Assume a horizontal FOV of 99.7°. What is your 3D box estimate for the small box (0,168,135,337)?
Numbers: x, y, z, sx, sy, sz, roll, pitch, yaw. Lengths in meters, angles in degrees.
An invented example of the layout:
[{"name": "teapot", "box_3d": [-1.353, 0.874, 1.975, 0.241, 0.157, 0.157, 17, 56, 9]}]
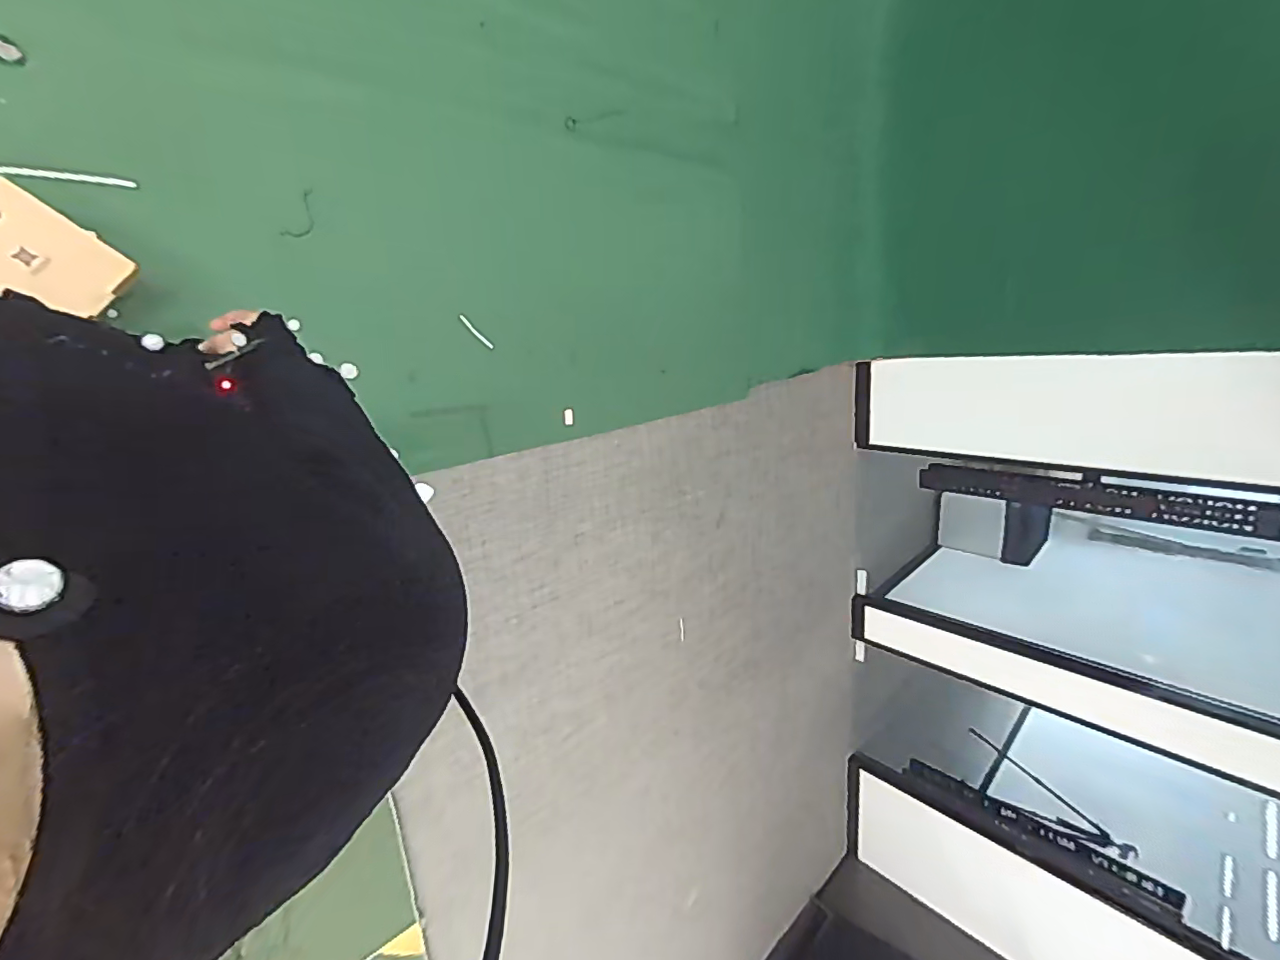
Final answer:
[{"name": "small box", "box_3d": [-0.950, -0.345, 0.849, 0.179, 0.176, 0.168, 43, 69, -40]}]
